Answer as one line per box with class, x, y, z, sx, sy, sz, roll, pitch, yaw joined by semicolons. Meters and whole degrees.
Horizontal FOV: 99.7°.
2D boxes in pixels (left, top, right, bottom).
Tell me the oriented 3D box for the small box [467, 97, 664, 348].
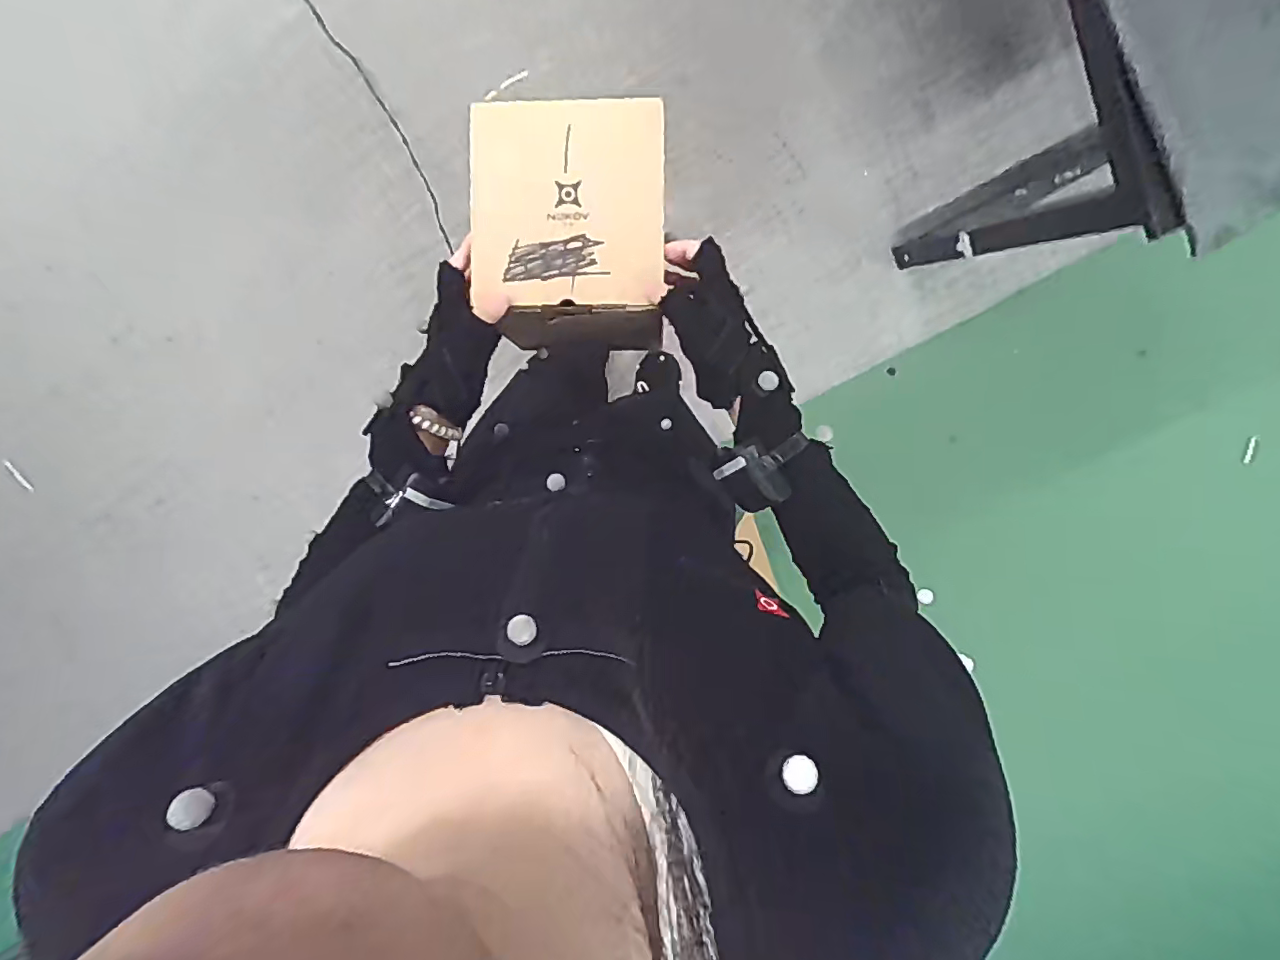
small box;-0.060;-0.231;0.532;0.168;0.176;0.179;-1;90;2
